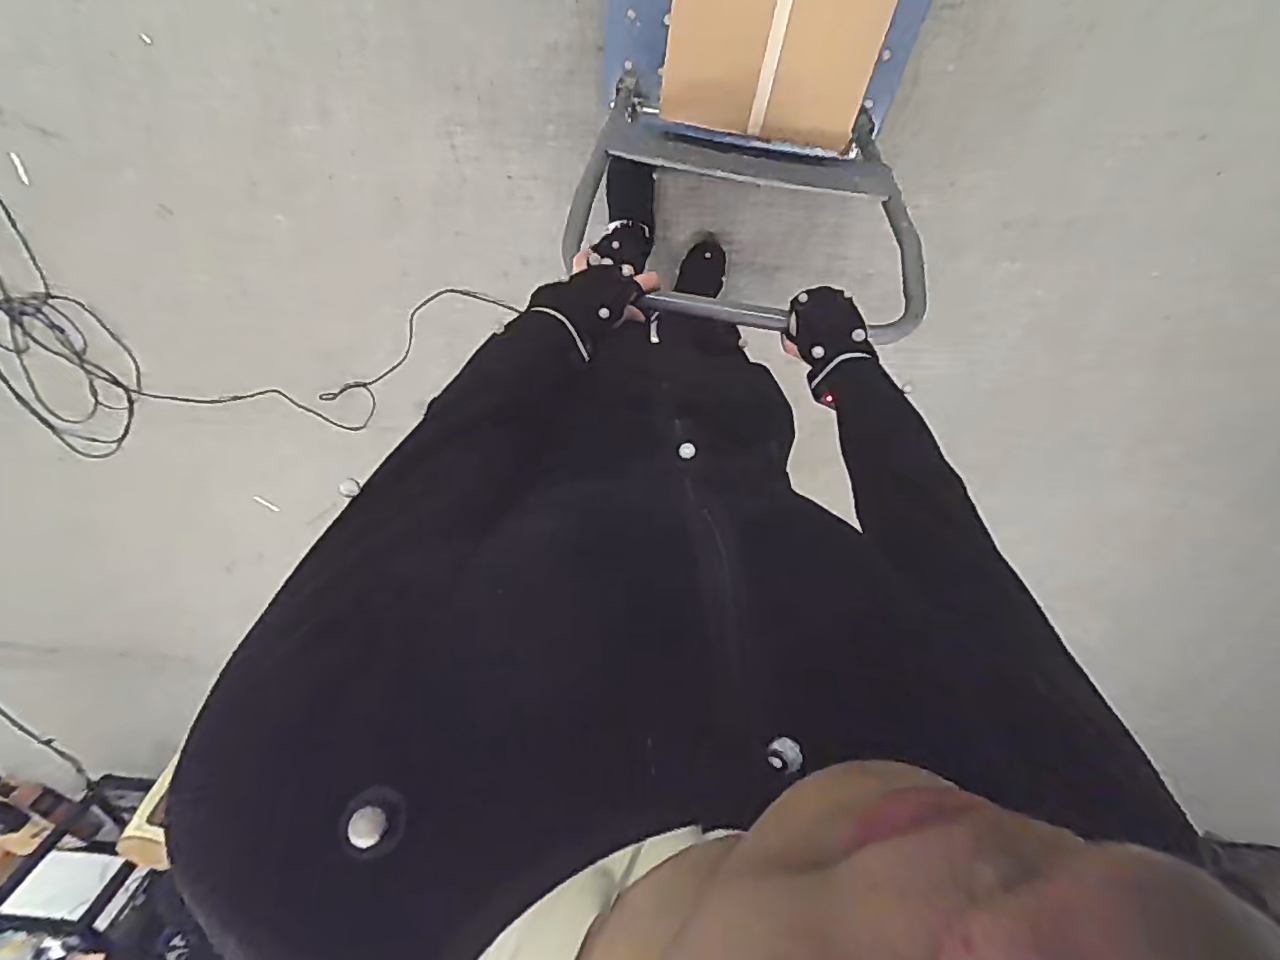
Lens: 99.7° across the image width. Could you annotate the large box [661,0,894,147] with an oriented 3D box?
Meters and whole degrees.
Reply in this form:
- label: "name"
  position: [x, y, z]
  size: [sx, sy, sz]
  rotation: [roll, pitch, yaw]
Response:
- label: "large box"
  position: [0.225, -0.807, 0.847]
  size: [0.320, 0.320, 0.408]
  rotation: [10, 136, 0]
